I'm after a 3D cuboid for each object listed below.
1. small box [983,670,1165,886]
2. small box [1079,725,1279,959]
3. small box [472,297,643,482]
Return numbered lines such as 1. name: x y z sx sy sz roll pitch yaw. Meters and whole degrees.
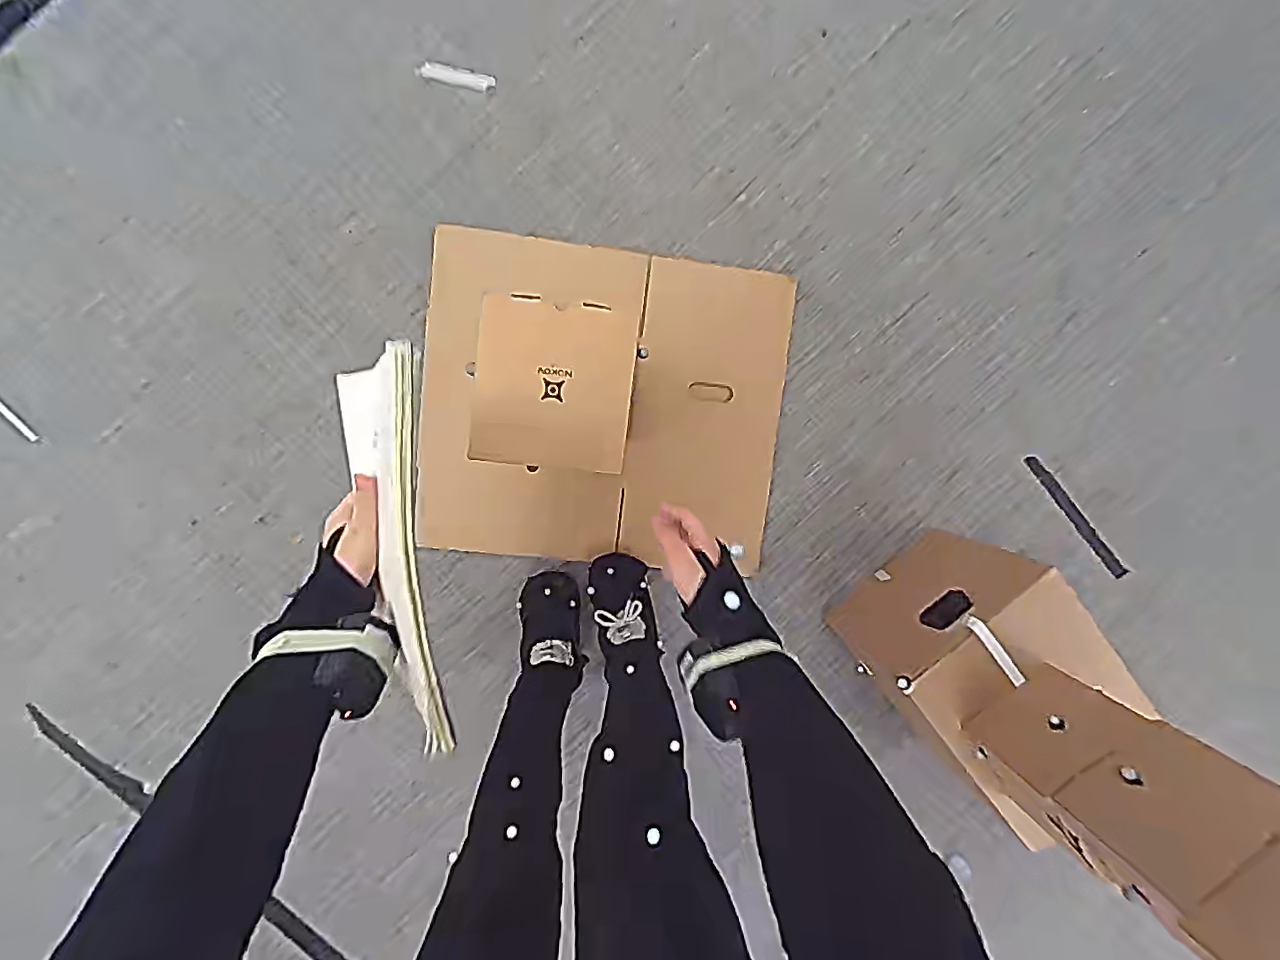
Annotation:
1. small box: 0.645 0.418 0.787 0.179 0.176 0.168 -37 98 0
2. small box: 0.665 0.432 0.625 0.179 0.176 0.168 -39 98 2
3. small box: -0.091 -0.101 0.640 0.168 0.176 0.179 6 96 -5
